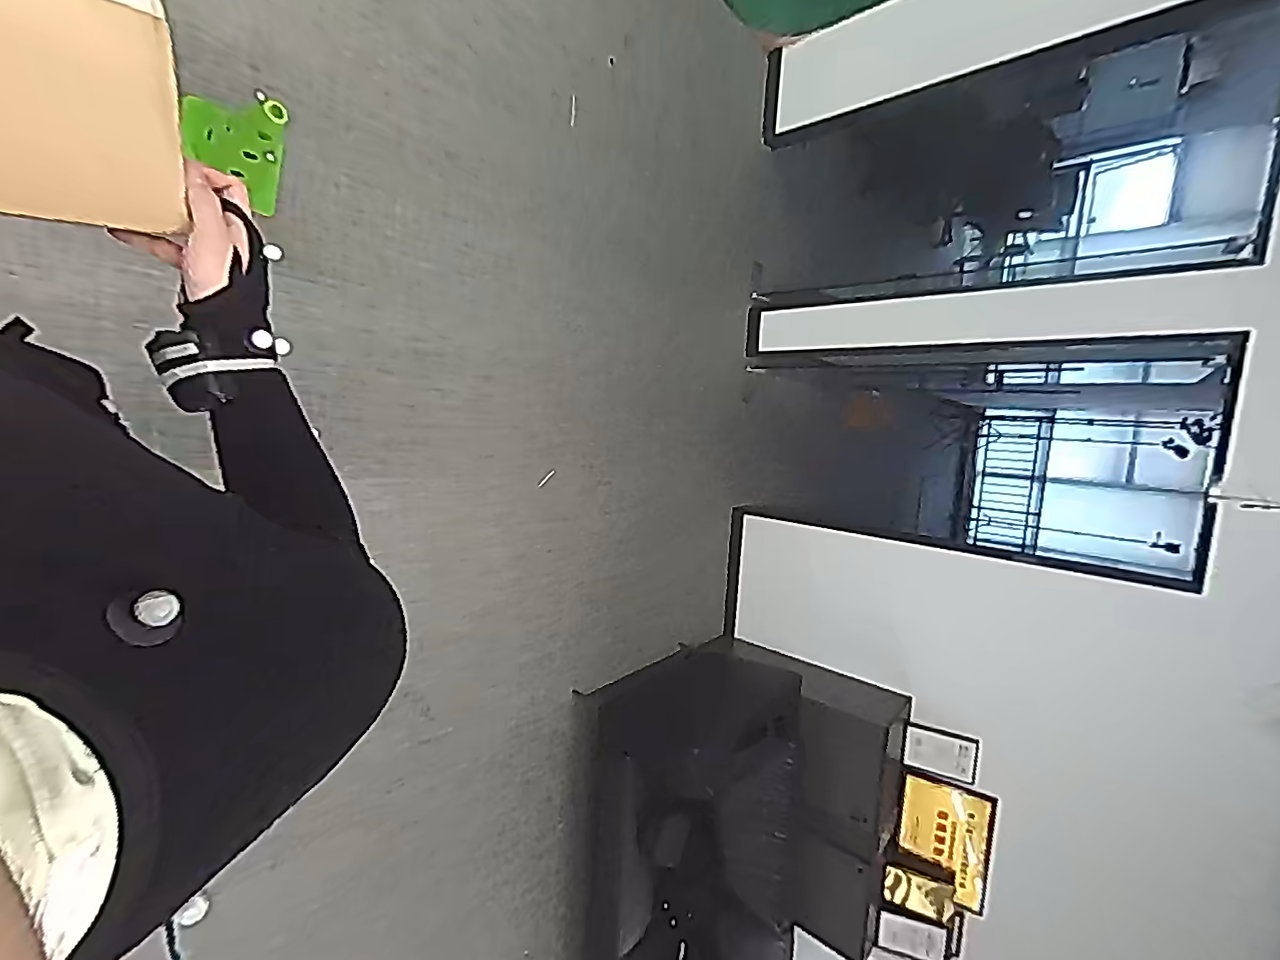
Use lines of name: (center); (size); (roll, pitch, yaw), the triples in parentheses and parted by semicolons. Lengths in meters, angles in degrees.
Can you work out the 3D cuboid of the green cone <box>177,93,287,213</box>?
green cone: (-0.859, -0.759, 1.191); (0.200, 0.368, 0.202); (6, 91, -50)
